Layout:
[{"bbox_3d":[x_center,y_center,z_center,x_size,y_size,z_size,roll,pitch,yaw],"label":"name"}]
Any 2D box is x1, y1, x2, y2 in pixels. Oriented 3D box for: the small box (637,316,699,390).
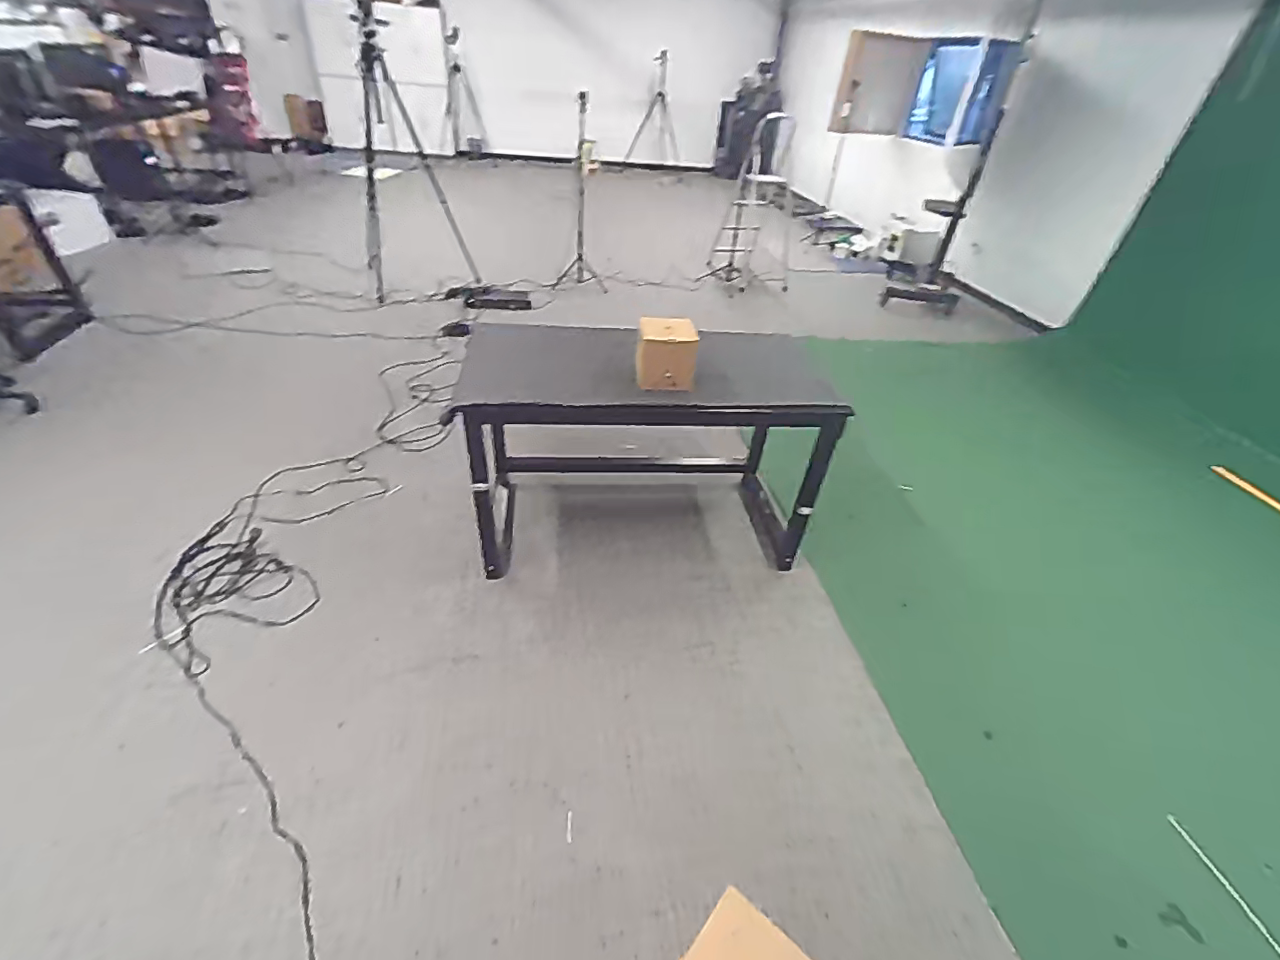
[{"bbox_3d":[0.082,-0.401,1.703,0.168,0.176,0.179,0,38,-7],"label":"small box"}]
